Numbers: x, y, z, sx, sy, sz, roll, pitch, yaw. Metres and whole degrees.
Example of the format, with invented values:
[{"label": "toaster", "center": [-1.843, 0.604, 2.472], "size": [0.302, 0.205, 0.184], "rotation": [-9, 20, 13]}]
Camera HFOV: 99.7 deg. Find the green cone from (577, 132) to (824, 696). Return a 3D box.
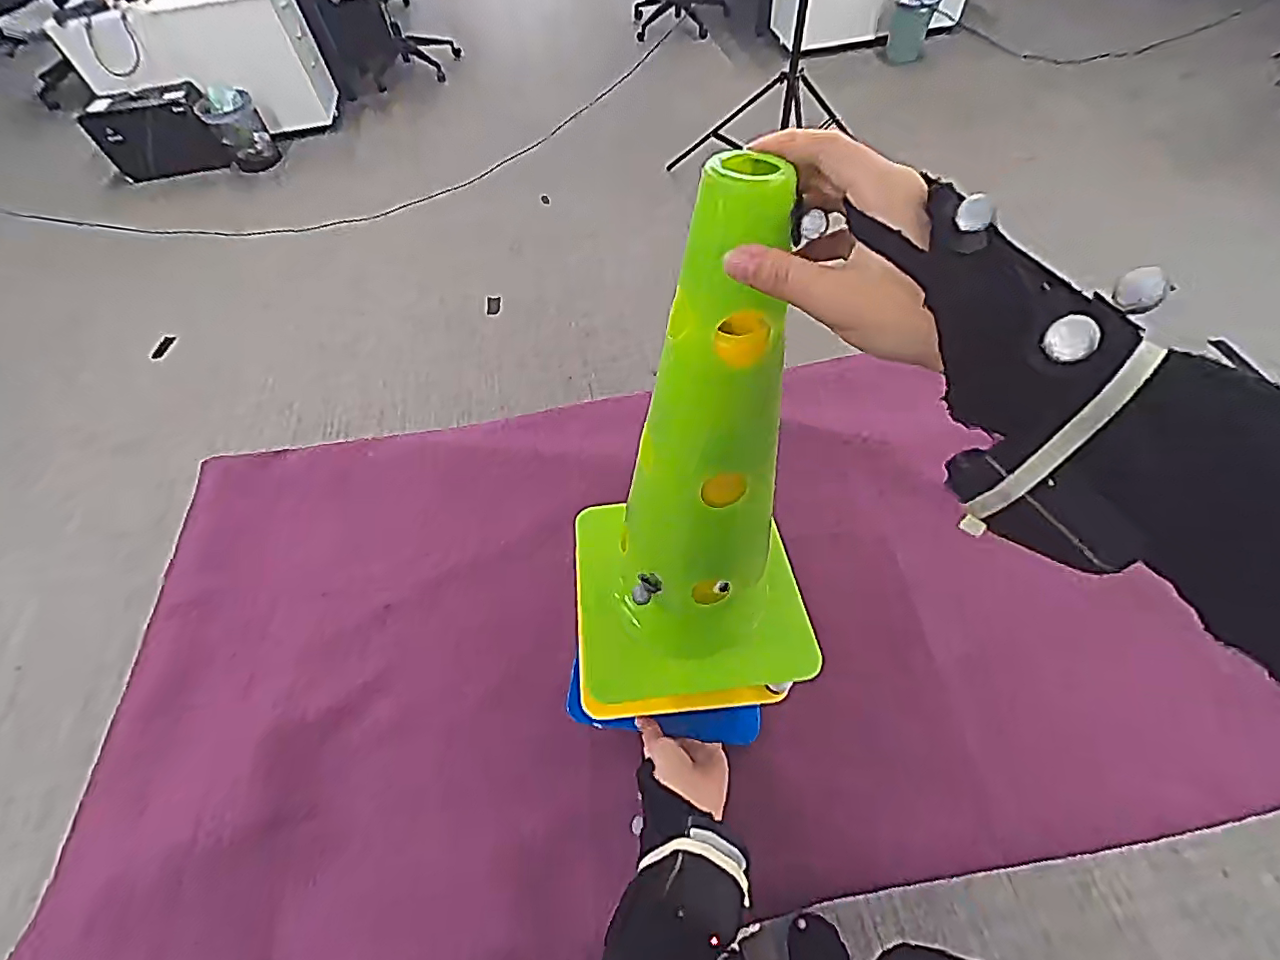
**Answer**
[{"label": "green cone", "center": [0.045, -0.024, 0.363], "size": [0.200, 0.368, 0.202], "rotation": [-6, 50, -5]}]
